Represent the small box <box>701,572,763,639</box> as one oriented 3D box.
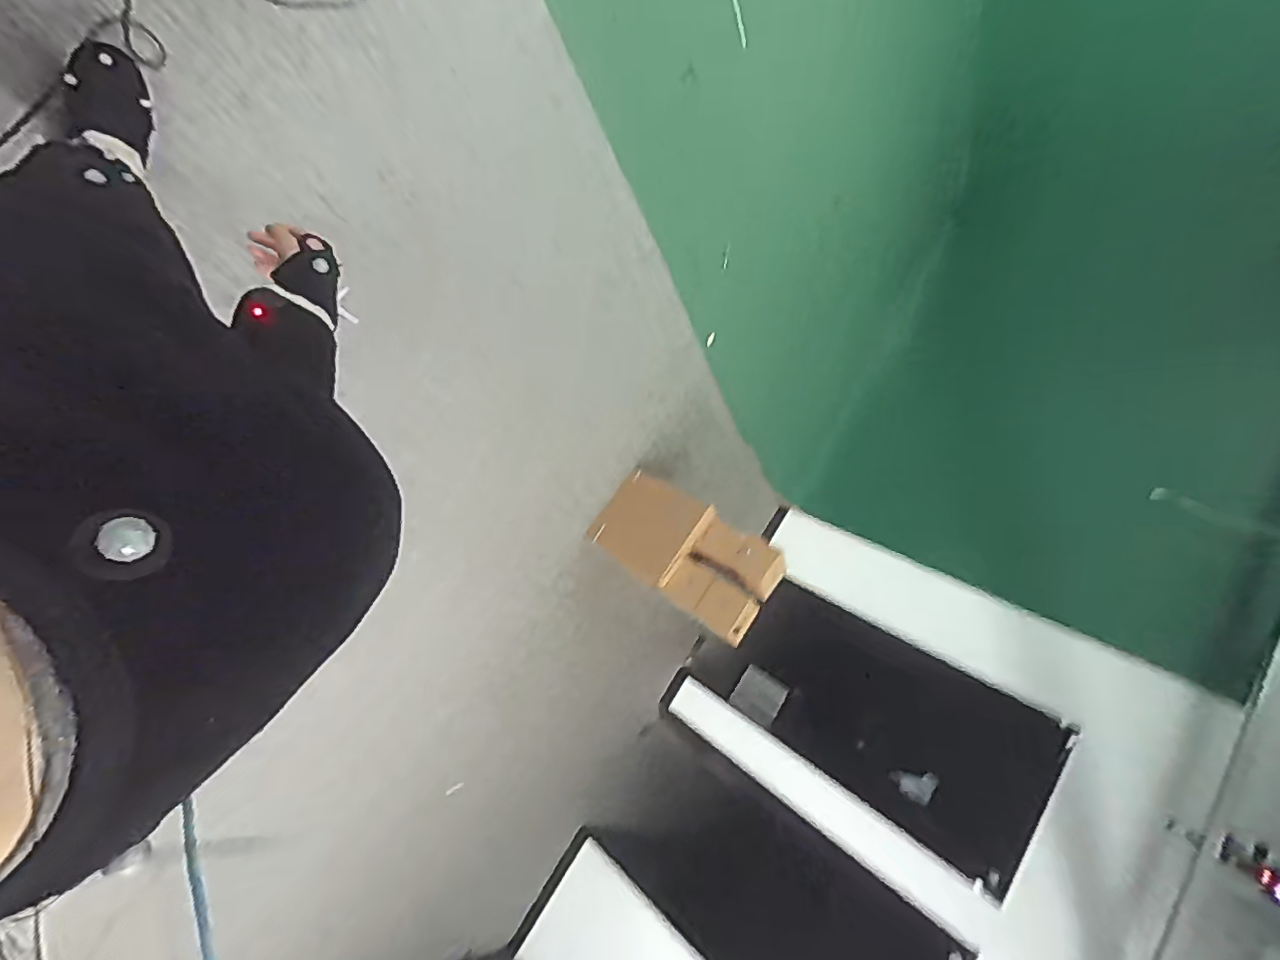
[{"bbox_3d":[0.363,0.500,2.164,0.179,0.176,0.168,-55,144,-13],"label":"small box"}]
